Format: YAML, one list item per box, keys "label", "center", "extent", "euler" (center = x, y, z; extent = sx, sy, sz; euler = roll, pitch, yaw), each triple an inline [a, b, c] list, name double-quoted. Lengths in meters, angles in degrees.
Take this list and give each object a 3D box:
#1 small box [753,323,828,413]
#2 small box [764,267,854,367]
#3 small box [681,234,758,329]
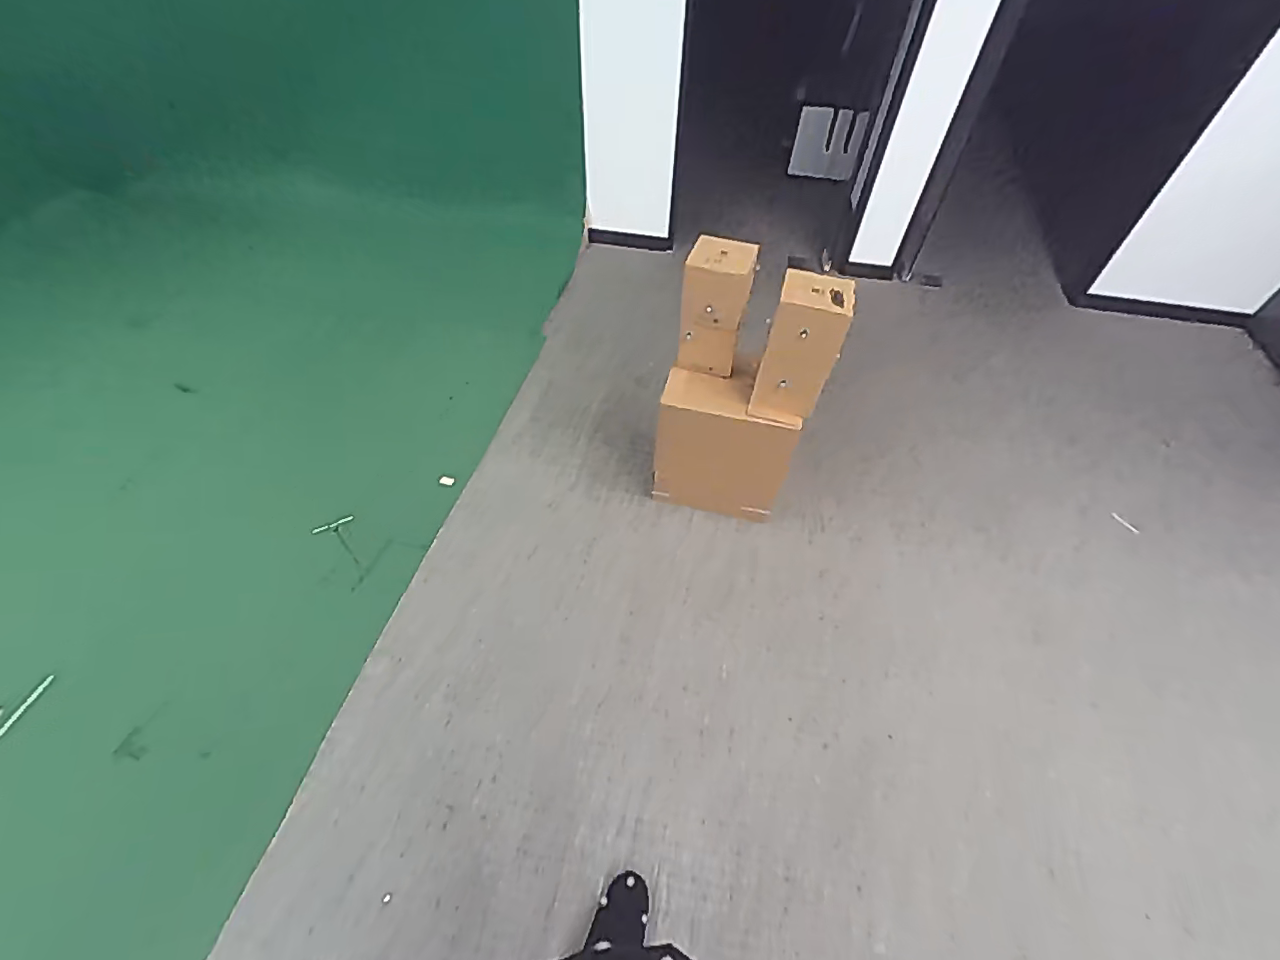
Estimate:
- label: "small box"
  center: [0.422, -0.310, 1.514]
  extent: [0.179, 0.176, 0.168]
  euler: [13, 53, 9]
- label: "small box"
  center: [0.431, -0.414, 1.388]
  extent: [0.179, 0.176, 0.168]
  euler: [14, 51, 9]
- label: "small box"
  center: [0.216, -0.547, 1.493]
  extent: [0.168, 0.176, 0.179]
  euler: [15, 52, 11]
